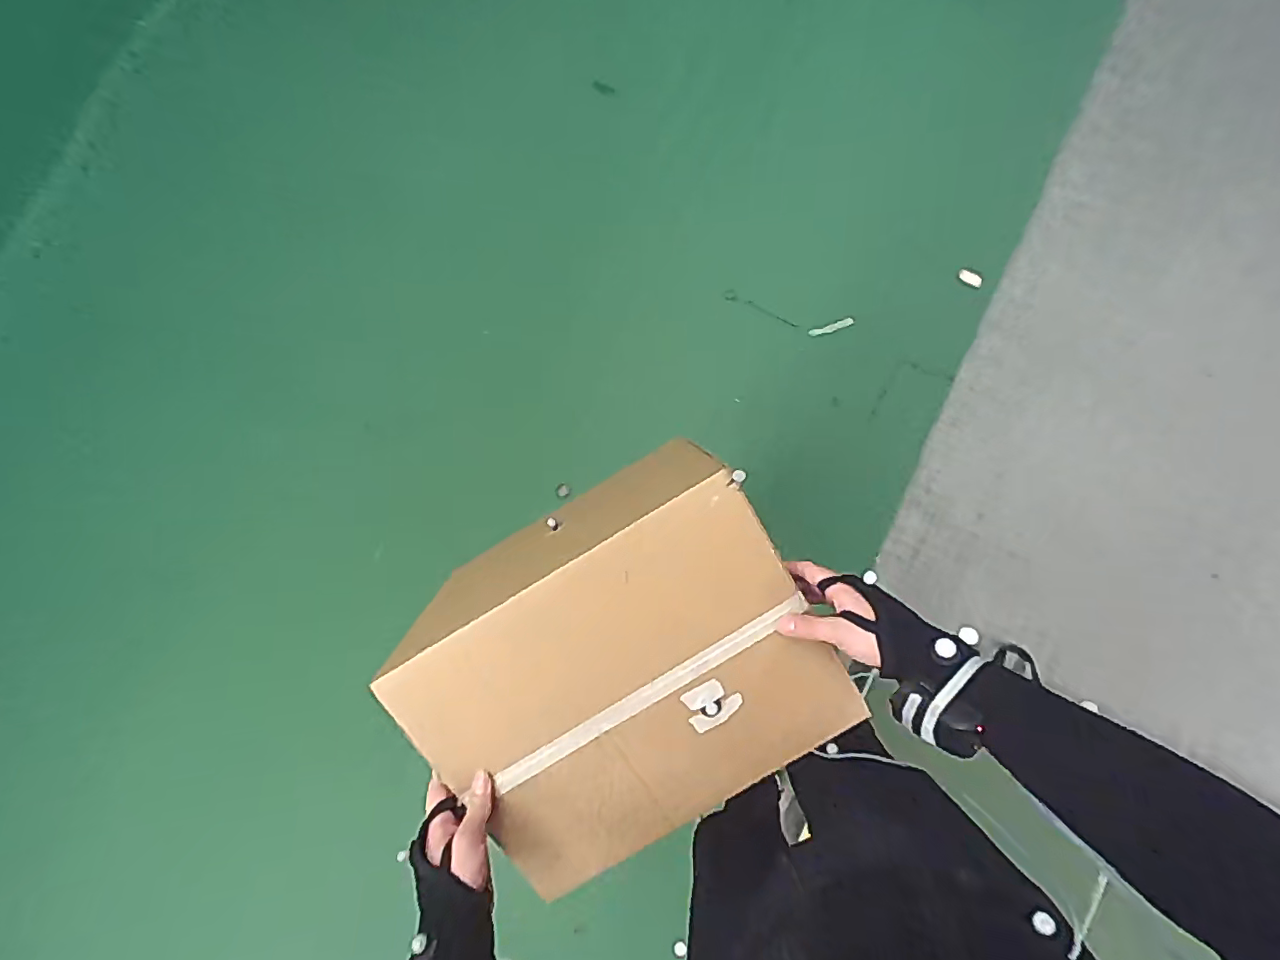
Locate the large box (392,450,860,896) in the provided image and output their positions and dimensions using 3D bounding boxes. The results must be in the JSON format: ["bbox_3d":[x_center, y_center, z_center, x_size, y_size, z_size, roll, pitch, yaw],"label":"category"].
[{"bbox_3d":[-0.018,0.204,0.705,0.408,0.320,0.320,-31,102,1],"label":"large box"}]
